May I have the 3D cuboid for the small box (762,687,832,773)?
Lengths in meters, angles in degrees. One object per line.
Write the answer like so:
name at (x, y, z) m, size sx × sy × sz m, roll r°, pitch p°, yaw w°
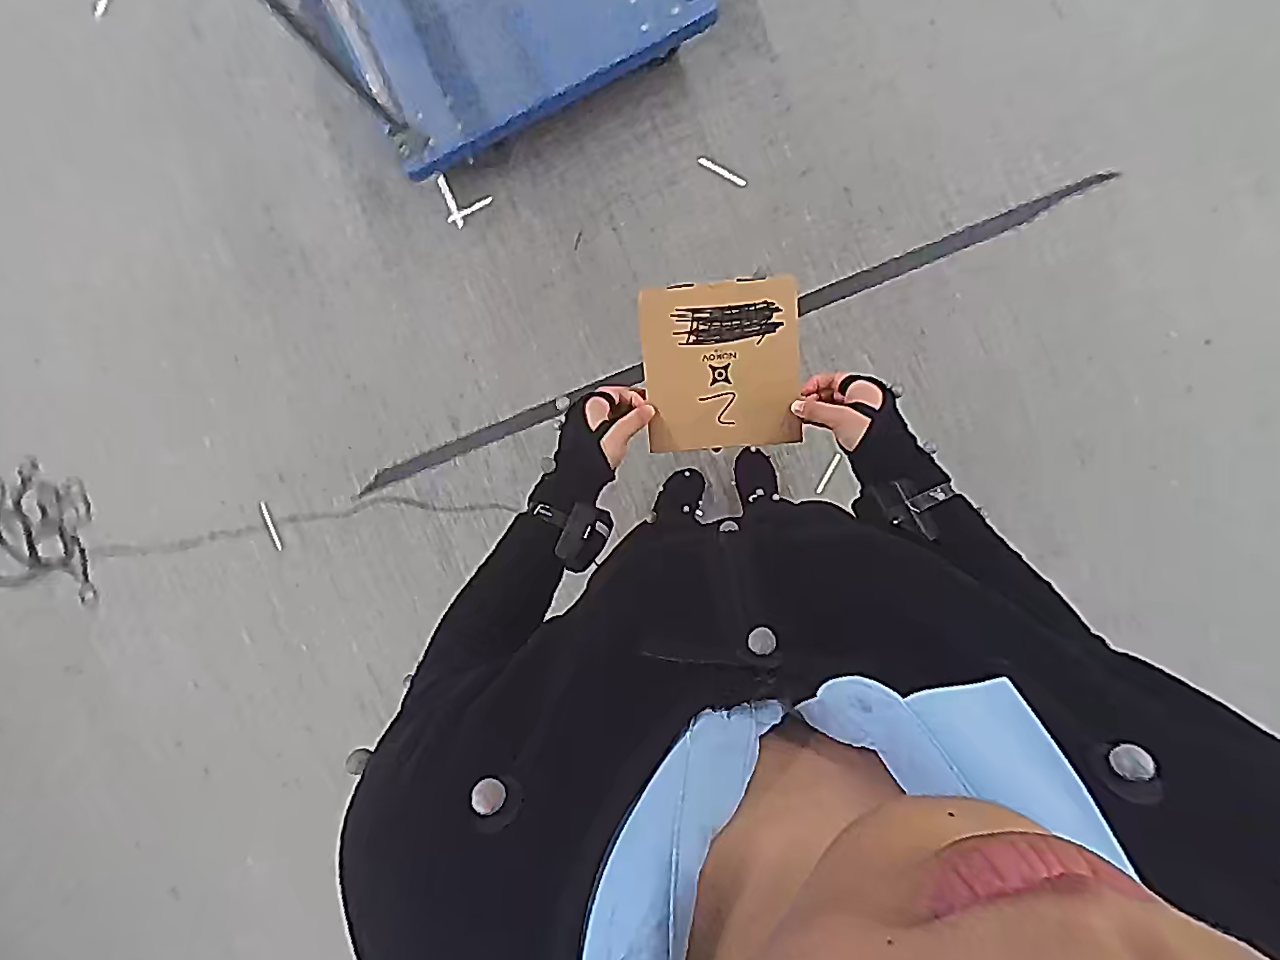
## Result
small box at (0.441, 0.681, 1.414) m, size 0.168 × 0.176 × 0.179 m, roll -34°, pitch 89°, yaw 4°

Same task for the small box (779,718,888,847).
small box at (0.438, 0.691, 1.251) m, size 0.168 × 0.176 × 0.179 m, roll -22°, pitch 90°, yaw 5°
